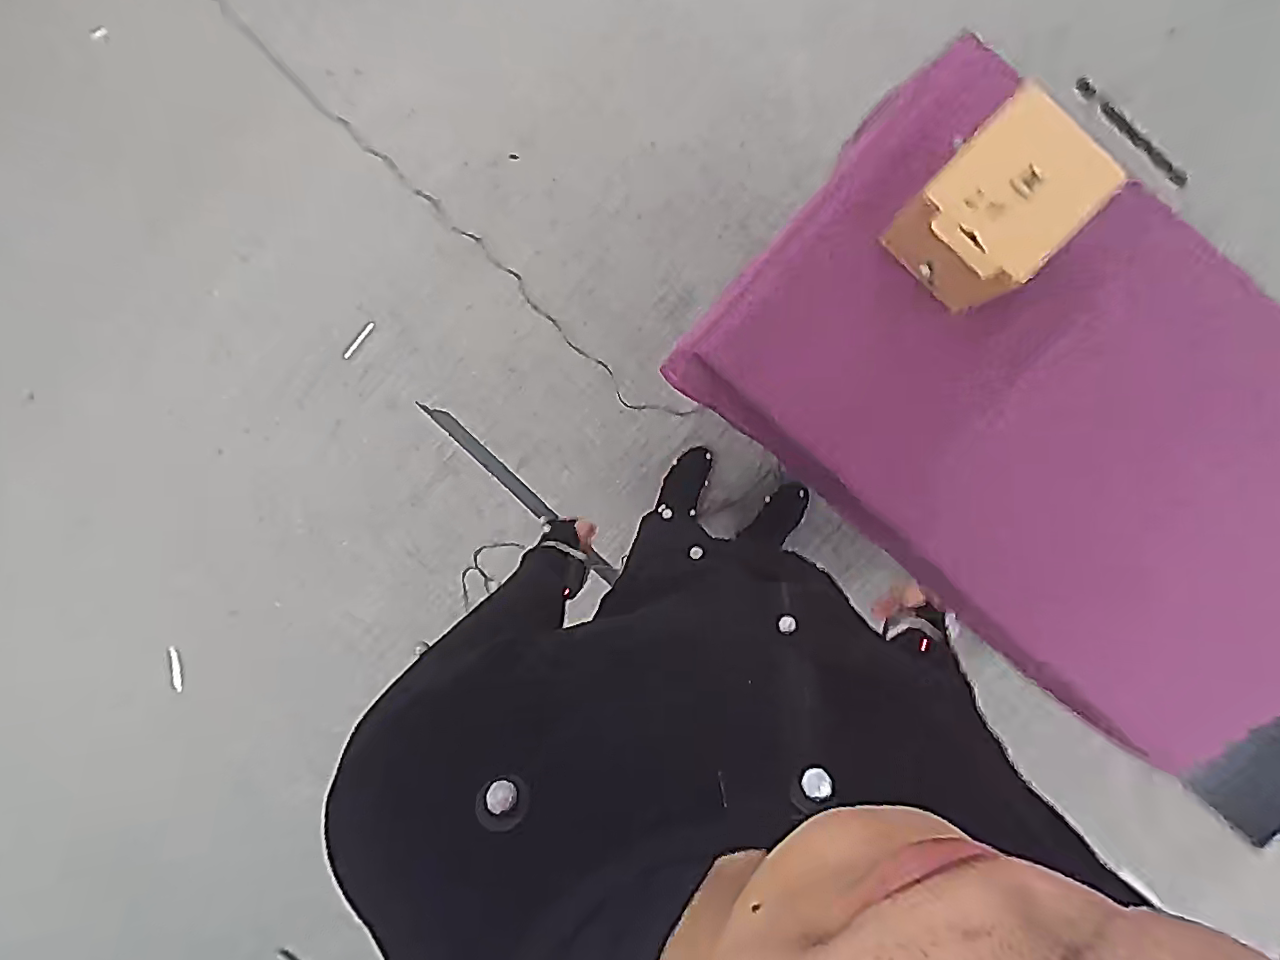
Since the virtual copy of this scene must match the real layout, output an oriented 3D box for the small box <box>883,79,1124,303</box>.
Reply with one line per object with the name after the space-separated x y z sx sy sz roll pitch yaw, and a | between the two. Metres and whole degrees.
0.471 -0.372 0.735 0.168 0.176 0.179 44 98 0 | small box
